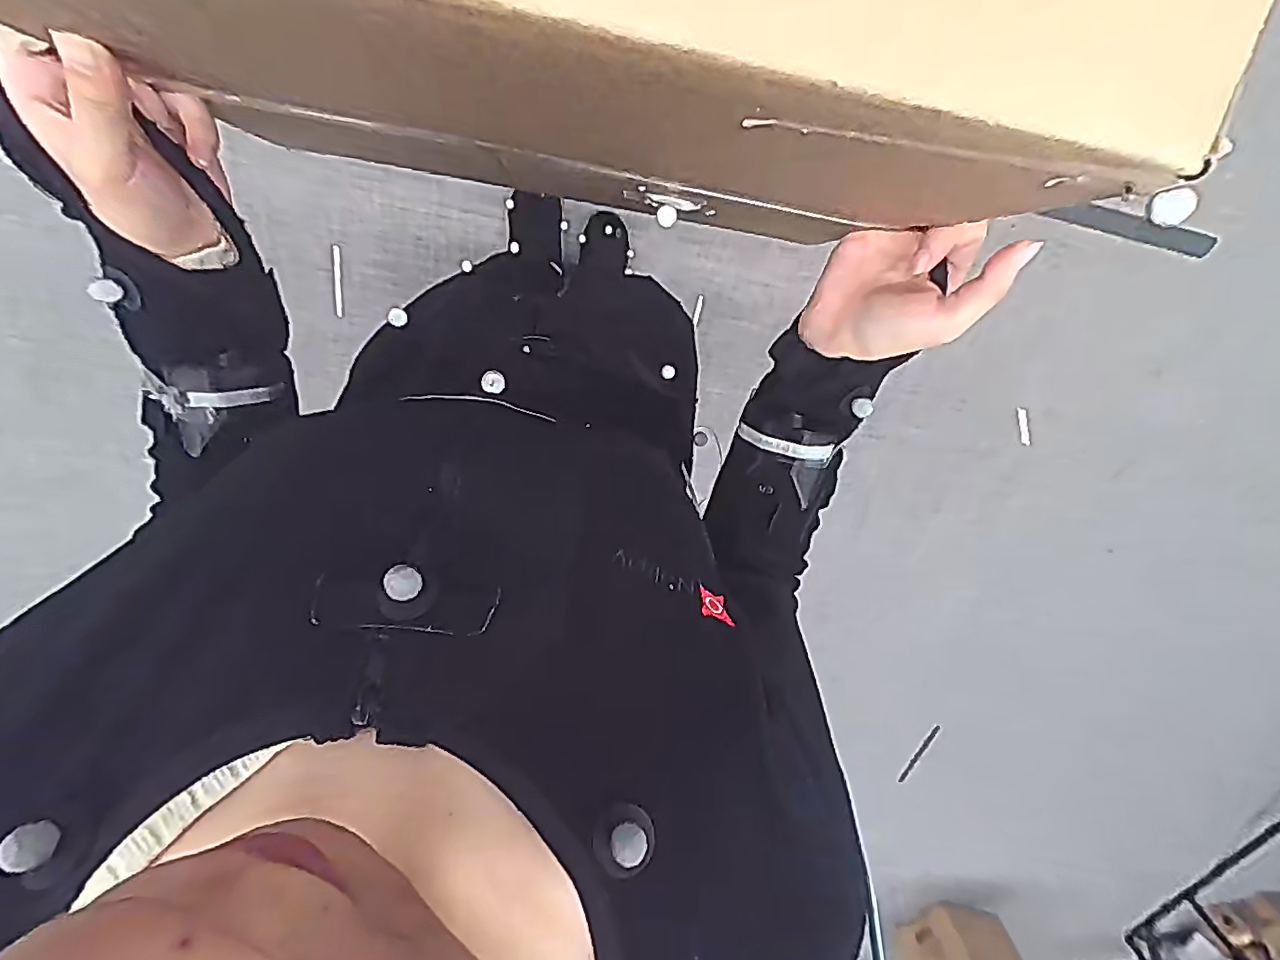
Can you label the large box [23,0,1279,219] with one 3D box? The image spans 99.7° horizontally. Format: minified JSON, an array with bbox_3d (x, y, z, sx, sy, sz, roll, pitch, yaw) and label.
[{"bbox_3d":[-0.018,-0.317,0.216,0.408,0.320,0.320,5,111,-9],"label":"large box"}]
